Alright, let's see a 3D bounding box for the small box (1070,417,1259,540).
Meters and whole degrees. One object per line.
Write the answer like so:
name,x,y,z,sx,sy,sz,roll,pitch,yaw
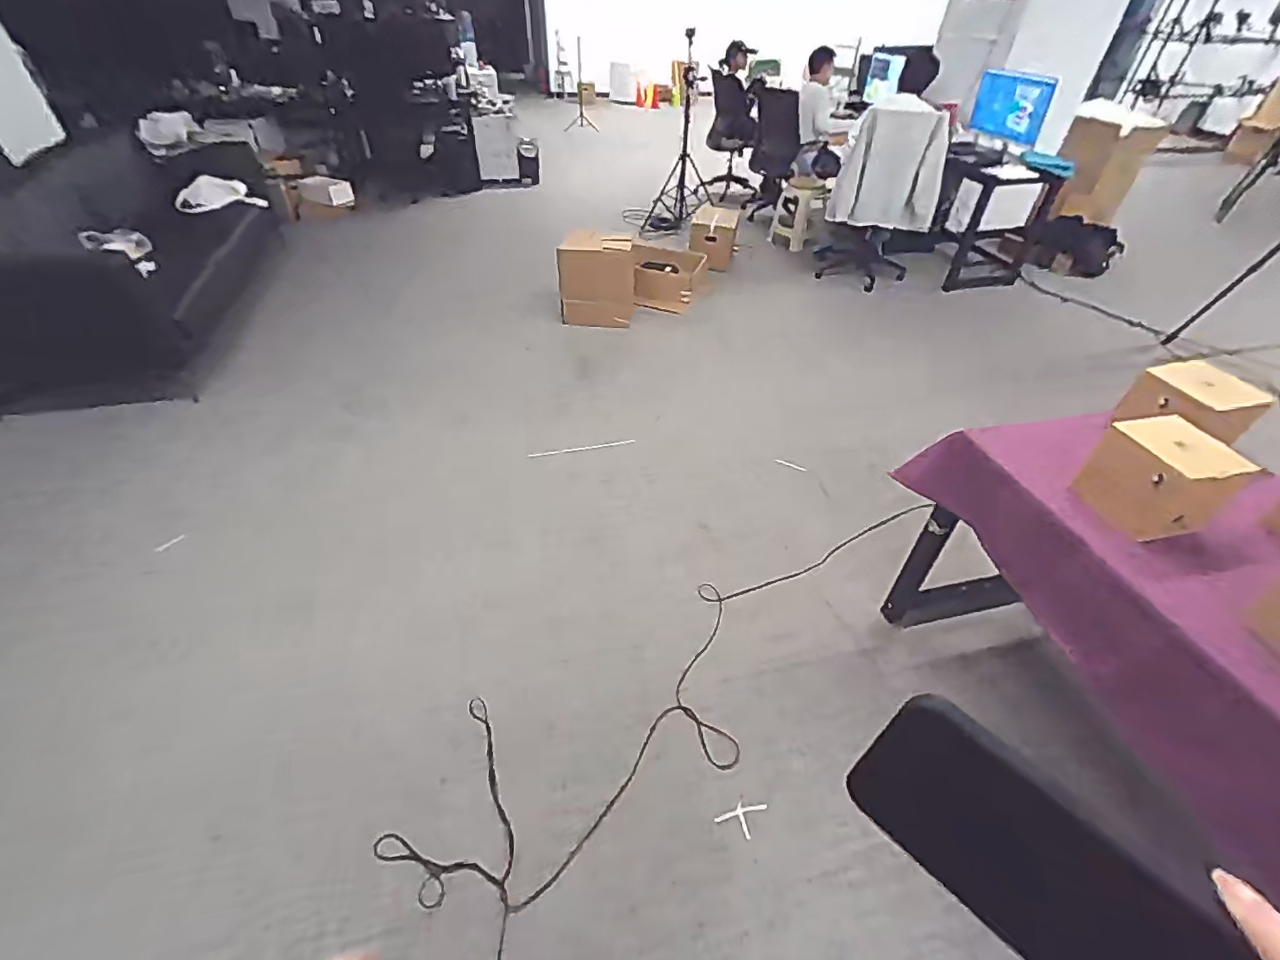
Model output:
small box,1.033,-0.004,1.087,0.168,0.176,0.179,-7,44,-10
